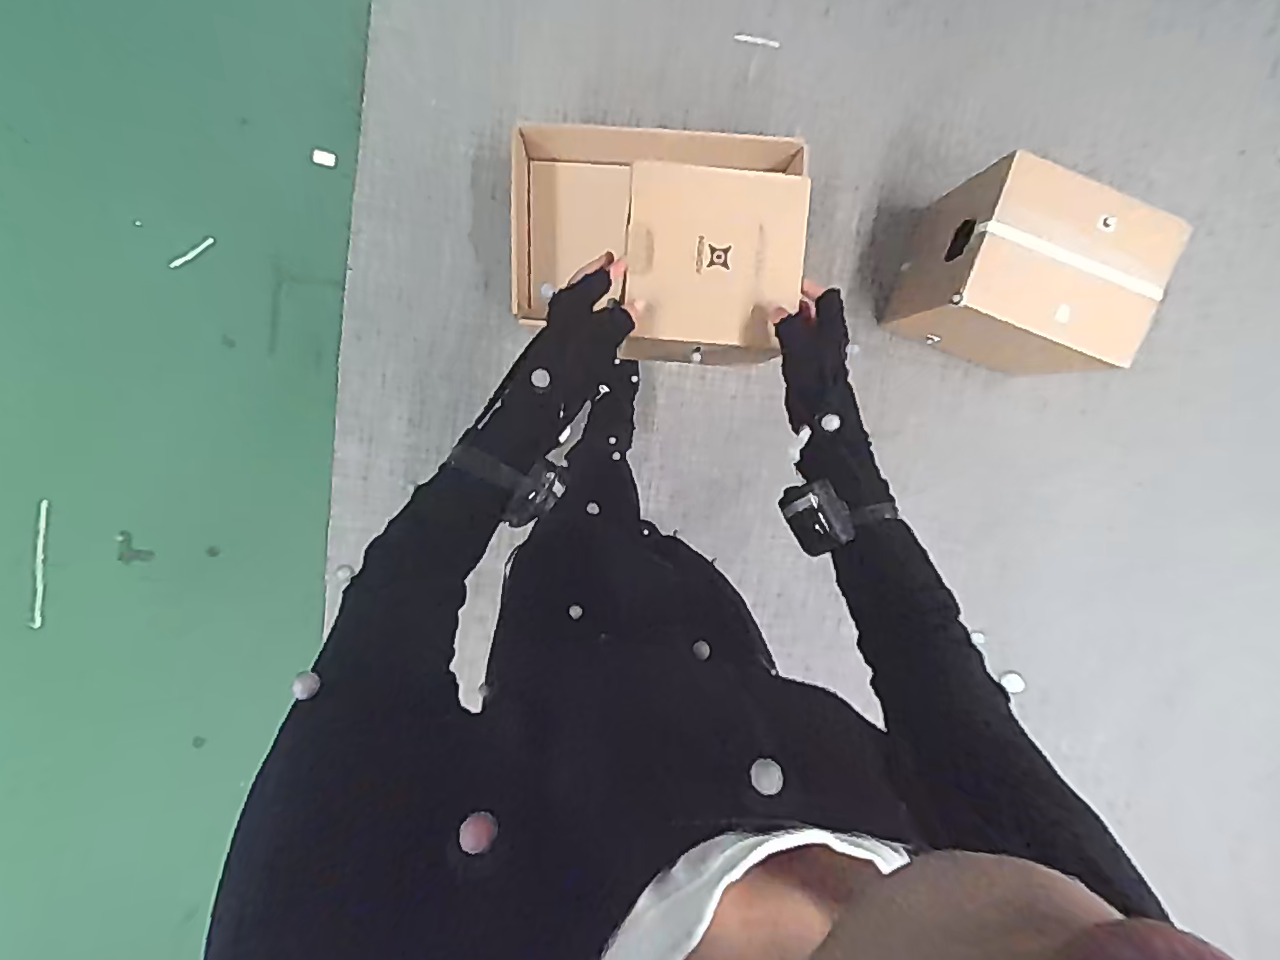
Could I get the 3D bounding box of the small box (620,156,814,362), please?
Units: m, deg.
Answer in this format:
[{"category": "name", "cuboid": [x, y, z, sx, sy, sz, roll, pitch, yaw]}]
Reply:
[{"category": "small box", "cuboid": [0.070, -0.226, 0.600, 0.179, 0.176, 0.168, 4, 96, -4]}]
